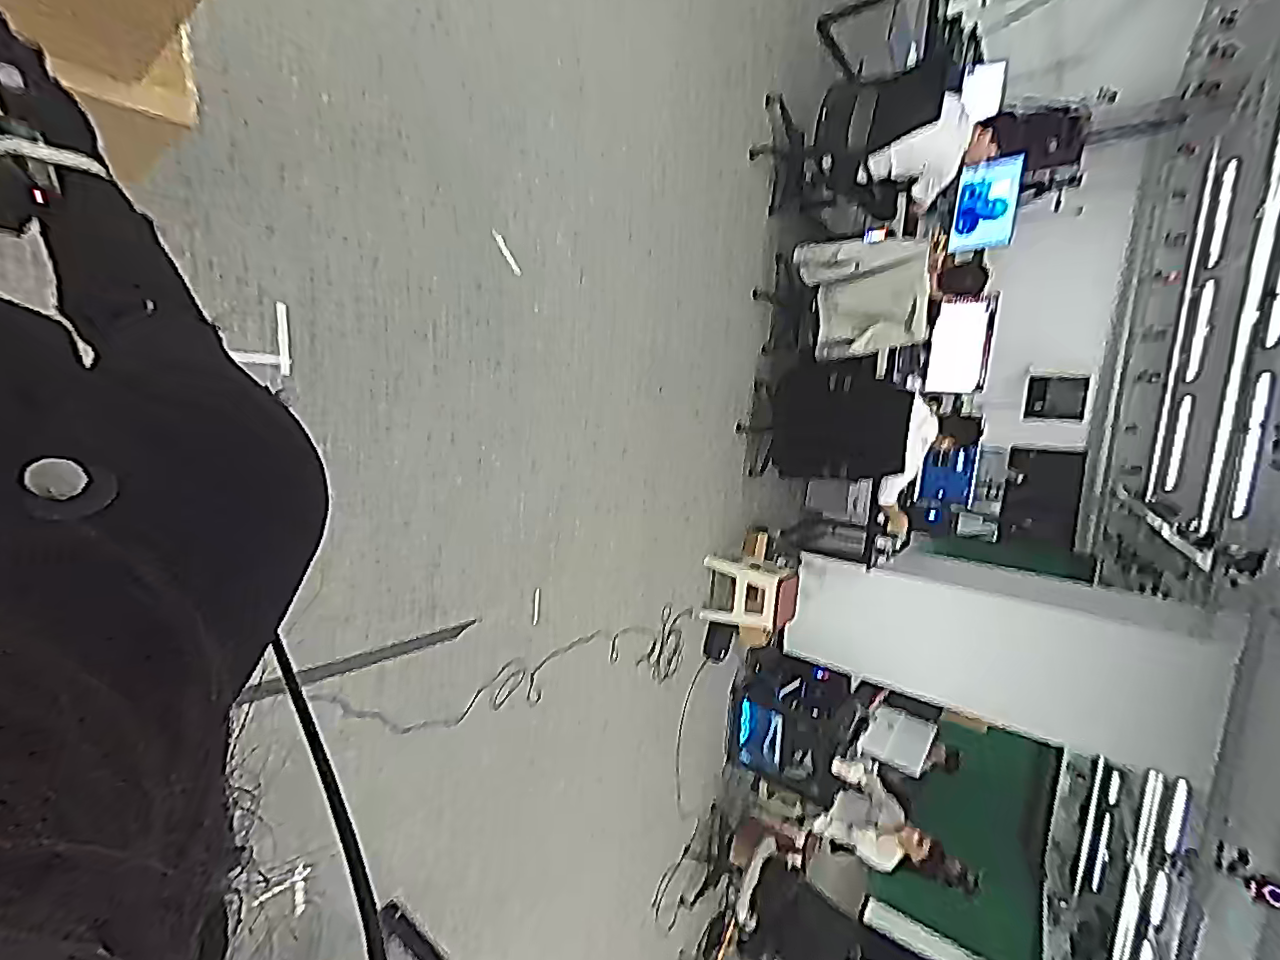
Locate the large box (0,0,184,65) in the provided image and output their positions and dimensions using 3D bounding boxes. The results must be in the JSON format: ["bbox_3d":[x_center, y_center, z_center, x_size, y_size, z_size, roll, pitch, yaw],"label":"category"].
[{"bbox_3d":[-0.621,-0.616,0.401,0.408,0.320,0.320,-9,105,-54],"label":"large box"}]
